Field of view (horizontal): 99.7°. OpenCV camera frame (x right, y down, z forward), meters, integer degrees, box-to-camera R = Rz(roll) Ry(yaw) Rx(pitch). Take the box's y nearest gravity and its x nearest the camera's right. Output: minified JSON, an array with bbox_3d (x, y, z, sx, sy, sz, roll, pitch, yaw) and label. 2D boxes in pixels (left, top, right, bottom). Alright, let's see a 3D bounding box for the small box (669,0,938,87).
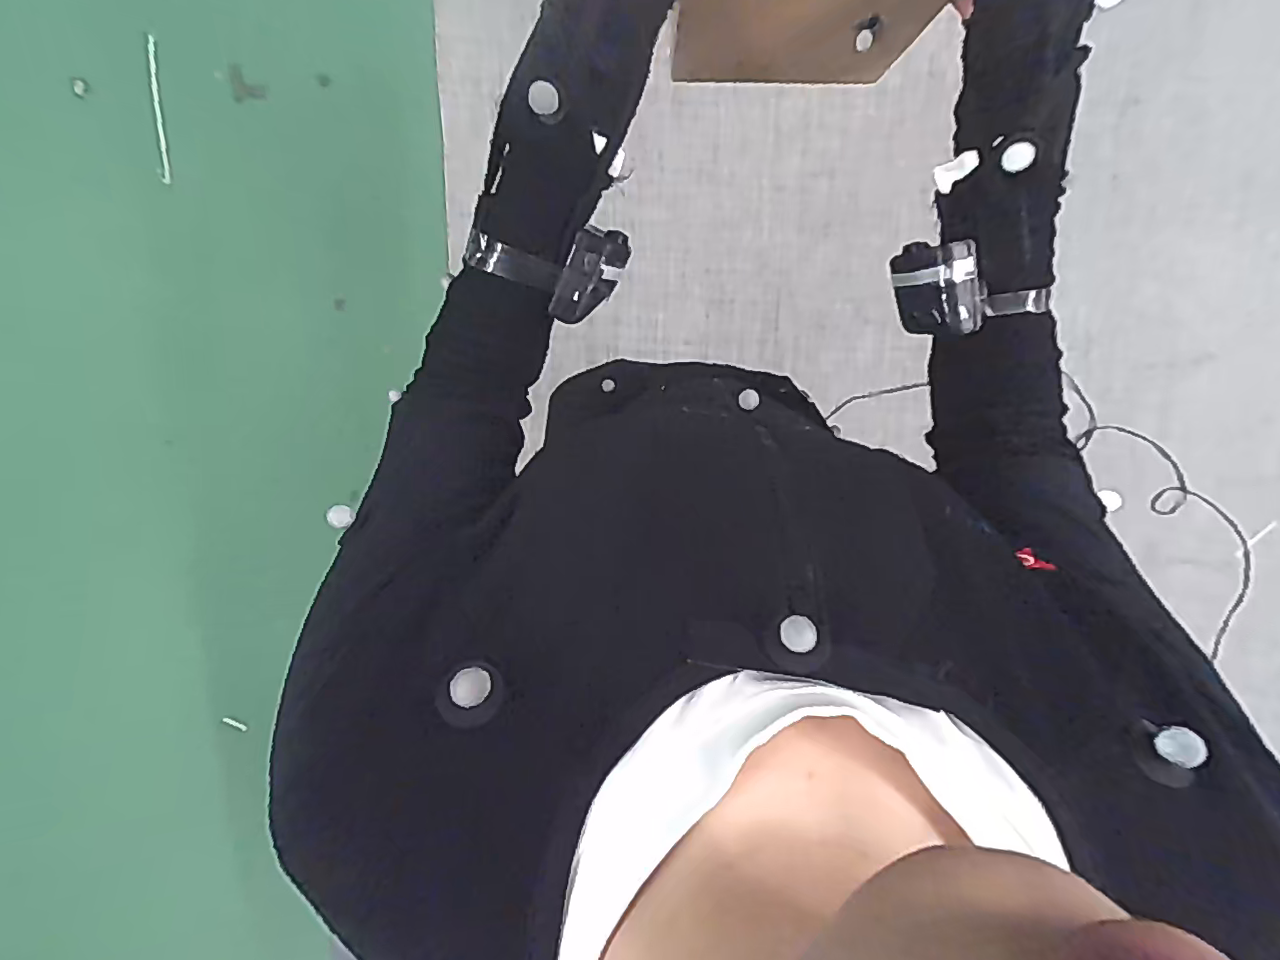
[{"bbox_3d":[0.112,-0.394,0.361,0.179,0.176,0.168,0,103,1],"label":"small box"}]
